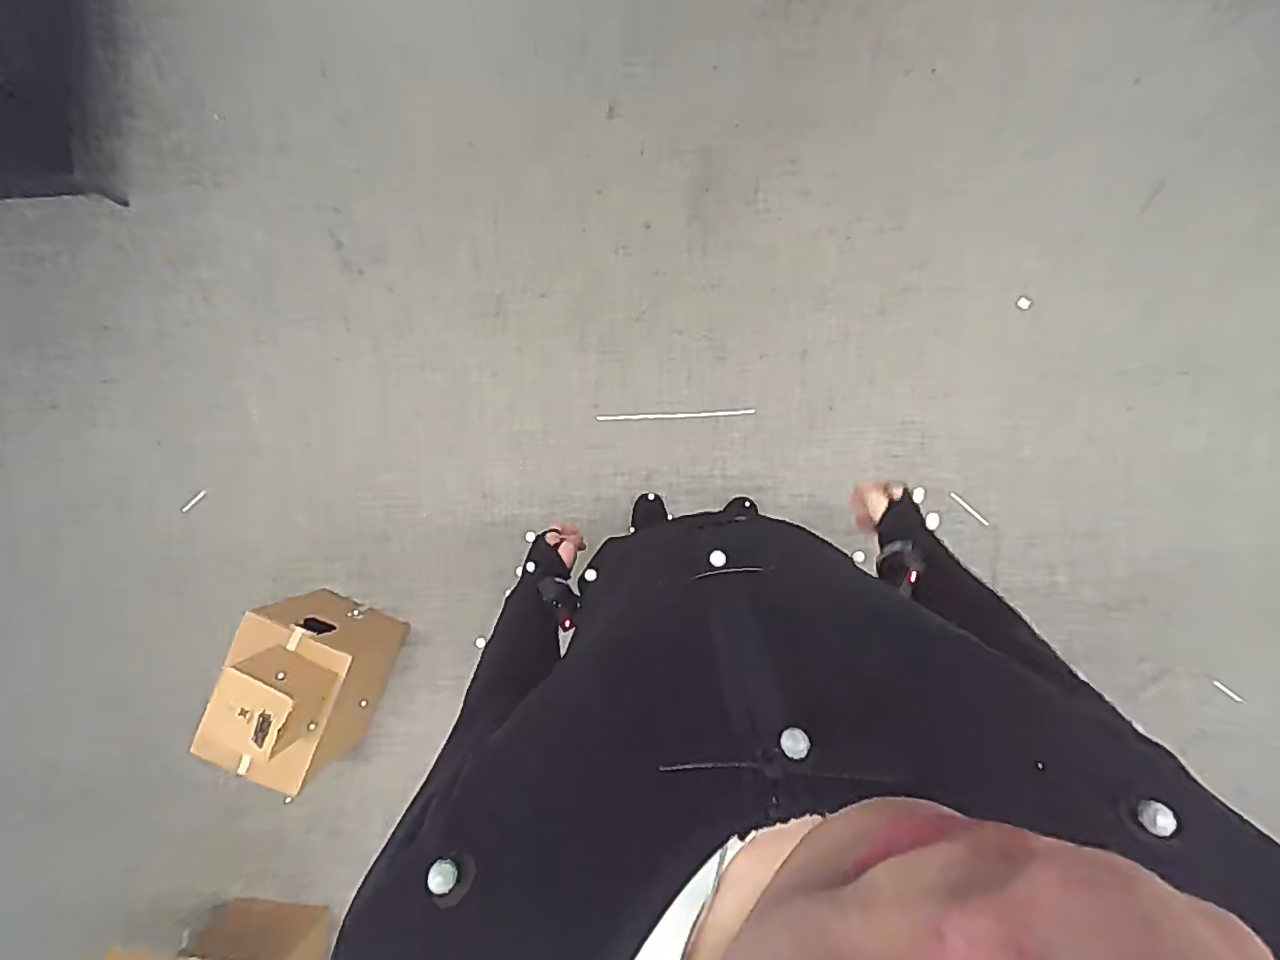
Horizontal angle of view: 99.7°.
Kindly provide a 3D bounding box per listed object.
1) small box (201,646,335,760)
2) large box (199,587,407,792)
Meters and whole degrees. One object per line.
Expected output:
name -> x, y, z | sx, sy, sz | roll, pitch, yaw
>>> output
small box -> -0.878, 0.522, 1.296 | 0.179, 0.176, 0.168 | 26, 91, 2
large box -> -0.934, 0.568, 1.545 | 0.320, 0.320, 0.408 | 22, 91, 3
